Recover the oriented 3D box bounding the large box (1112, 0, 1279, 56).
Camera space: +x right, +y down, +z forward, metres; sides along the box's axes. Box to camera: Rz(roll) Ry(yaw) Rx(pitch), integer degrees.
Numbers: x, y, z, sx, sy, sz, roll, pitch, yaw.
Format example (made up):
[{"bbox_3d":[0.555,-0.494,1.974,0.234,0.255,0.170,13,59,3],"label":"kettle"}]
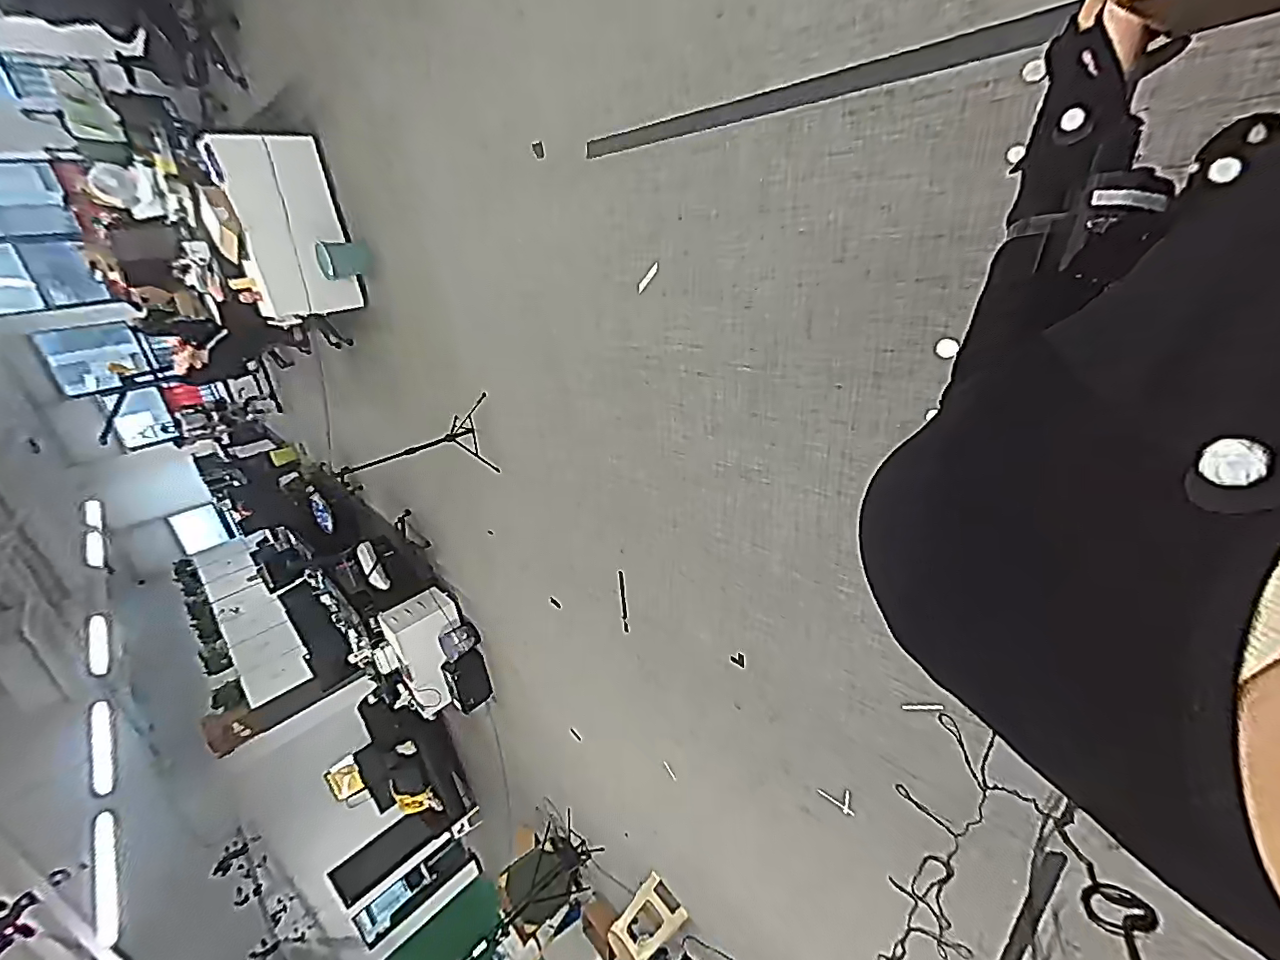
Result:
[{"bbox_3d":[0.397,-0.356,0.117,0.408,0.320,0.320,12,125,42],"label":"large box"}]
